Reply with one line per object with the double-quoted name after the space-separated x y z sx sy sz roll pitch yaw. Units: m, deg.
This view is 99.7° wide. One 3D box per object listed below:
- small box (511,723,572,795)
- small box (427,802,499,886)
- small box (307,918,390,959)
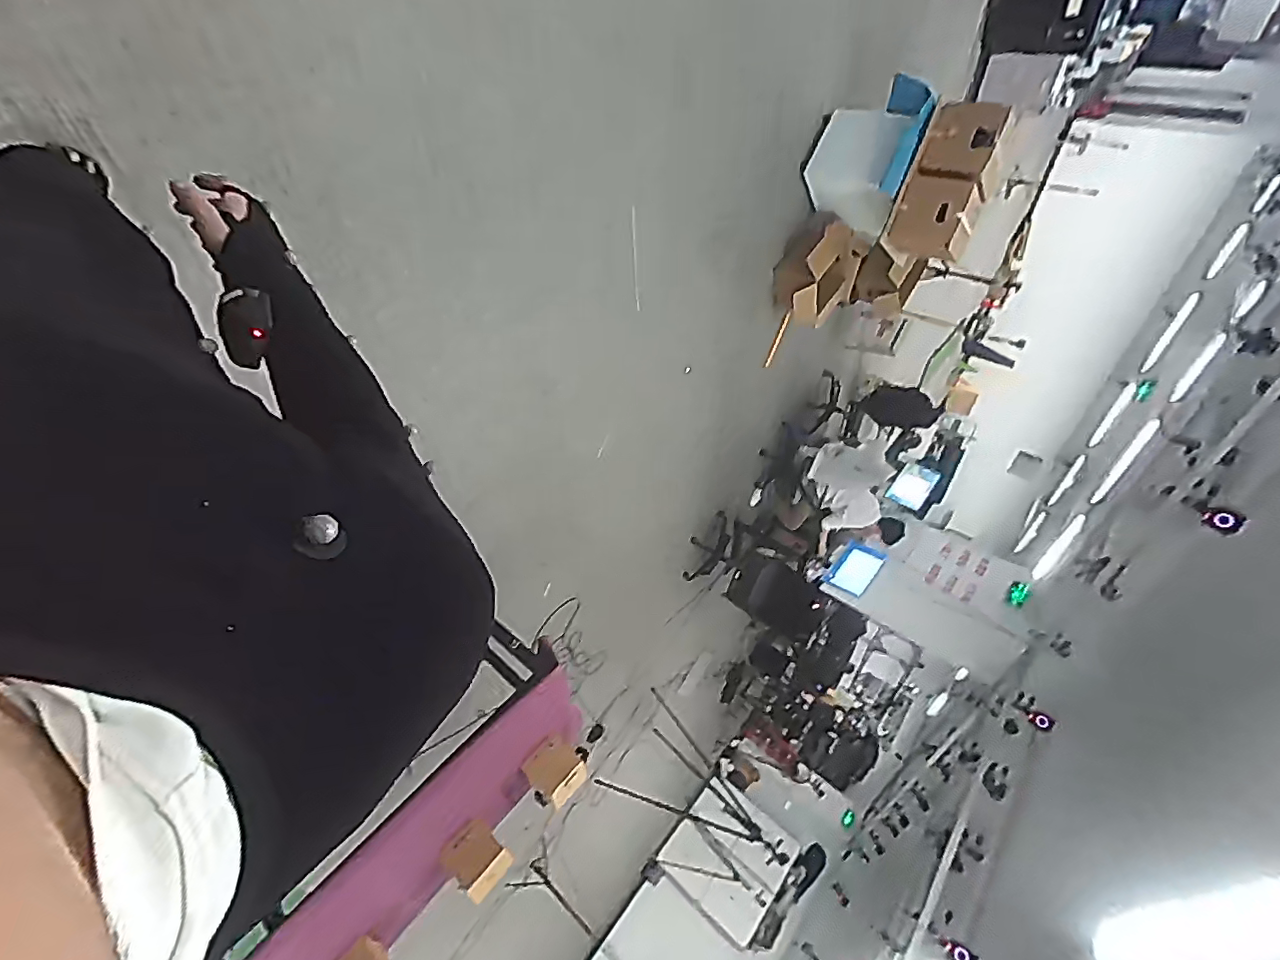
-0.393 1.103 2.153 0.168 0.176 0.179 -39 145 -33 "small box"
-0.641 1.313 1.958 0.168 0.176 0.179 -39 145 -35 "small box"
-0.921 1.539 1.712 0.168 0.176 0.179 -40 147 -34 "small box"
